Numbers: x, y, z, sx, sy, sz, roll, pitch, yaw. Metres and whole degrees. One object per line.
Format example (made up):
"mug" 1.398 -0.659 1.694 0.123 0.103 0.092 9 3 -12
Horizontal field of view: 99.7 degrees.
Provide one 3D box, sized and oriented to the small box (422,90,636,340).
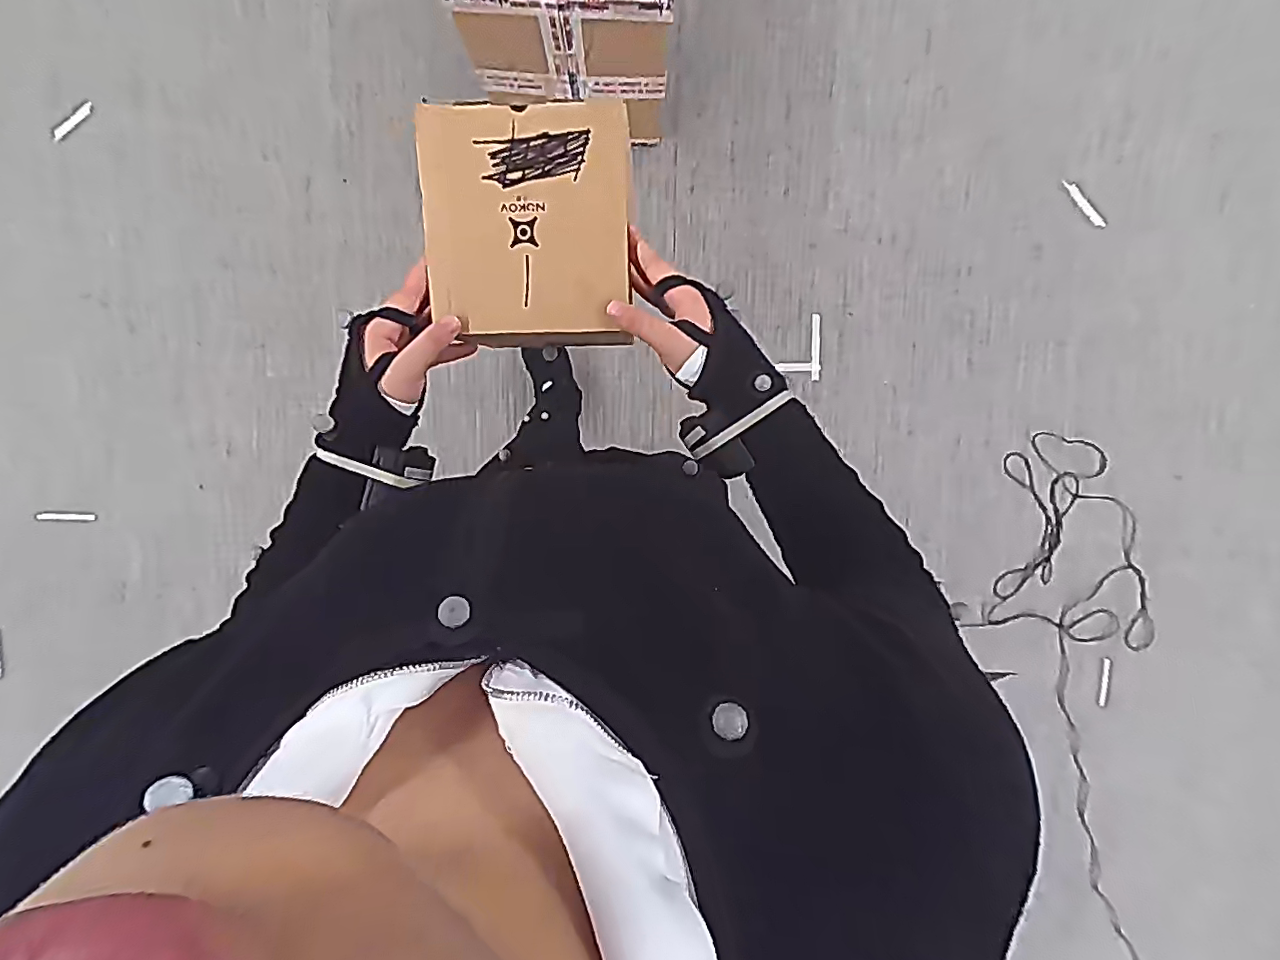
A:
"small box" -0.089 -0.231 0.514 0.168 0.176 0.179 -1 100 1
